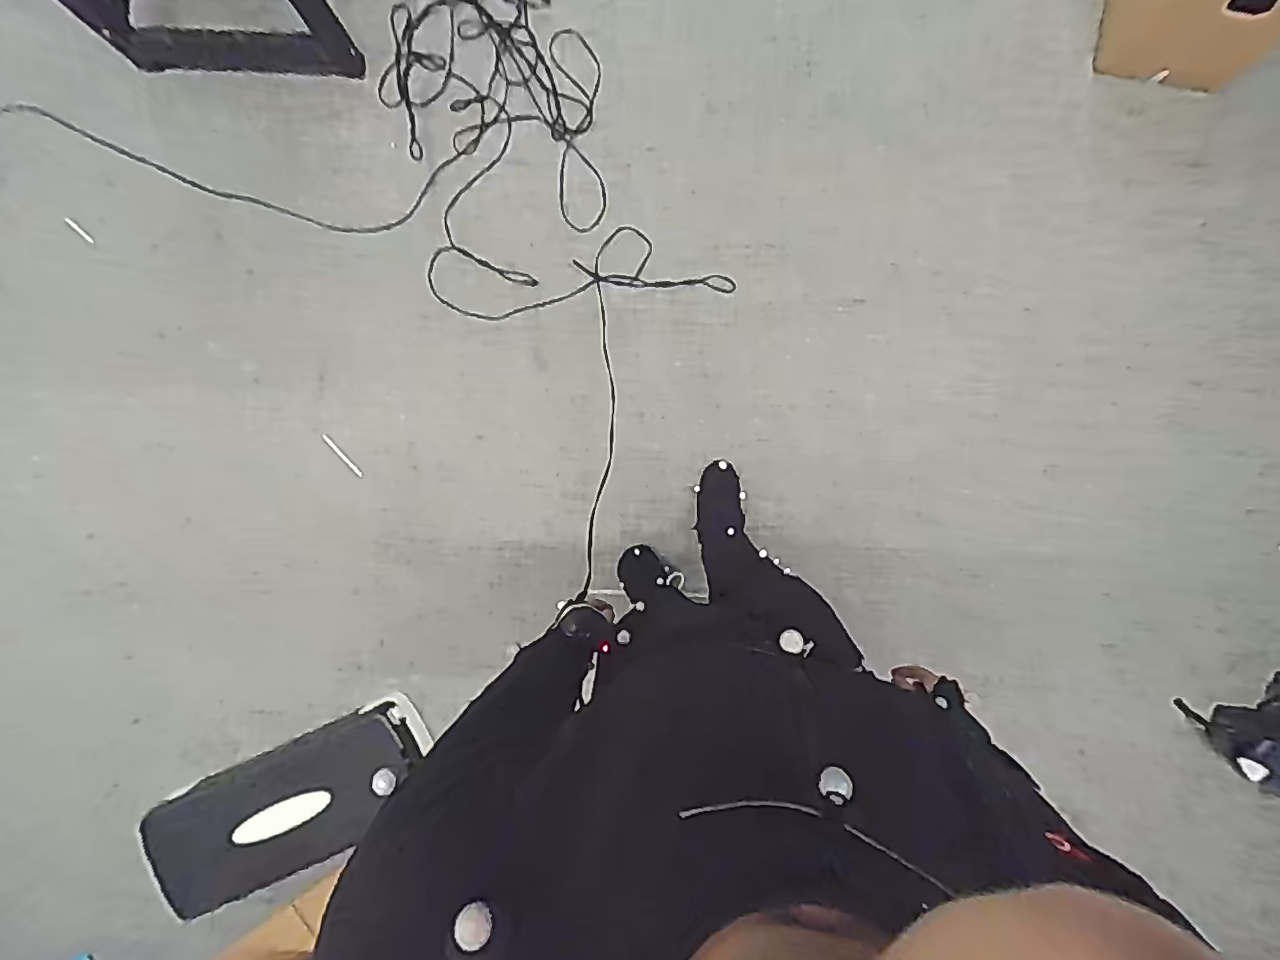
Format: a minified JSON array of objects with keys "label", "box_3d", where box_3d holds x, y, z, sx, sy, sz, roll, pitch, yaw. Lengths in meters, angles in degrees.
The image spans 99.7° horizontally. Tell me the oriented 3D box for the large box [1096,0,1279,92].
[{"label":"large box","box_3d":[1.332,-1.204,1.225,0.320,0.320,0.408,10,91,1]}]
